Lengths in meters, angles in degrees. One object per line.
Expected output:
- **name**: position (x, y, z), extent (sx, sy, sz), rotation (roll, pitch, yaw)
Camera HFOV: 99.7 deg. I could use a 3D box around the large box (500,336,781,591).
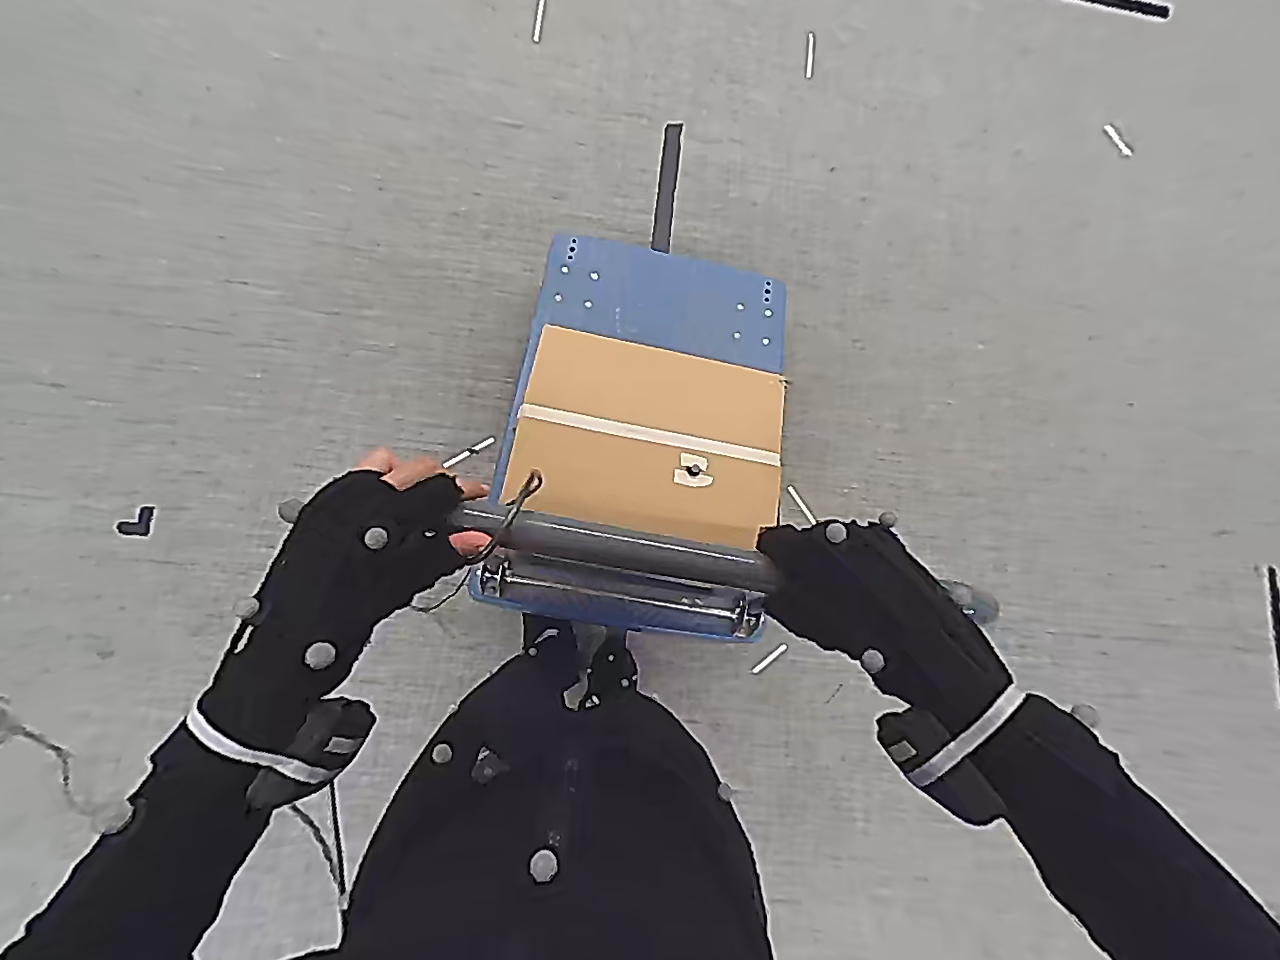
- **large box**: position (-0.006, -0.005, 0.957), extent (0.408, 0.320, 0.320), rotation (11, 70, -5)
